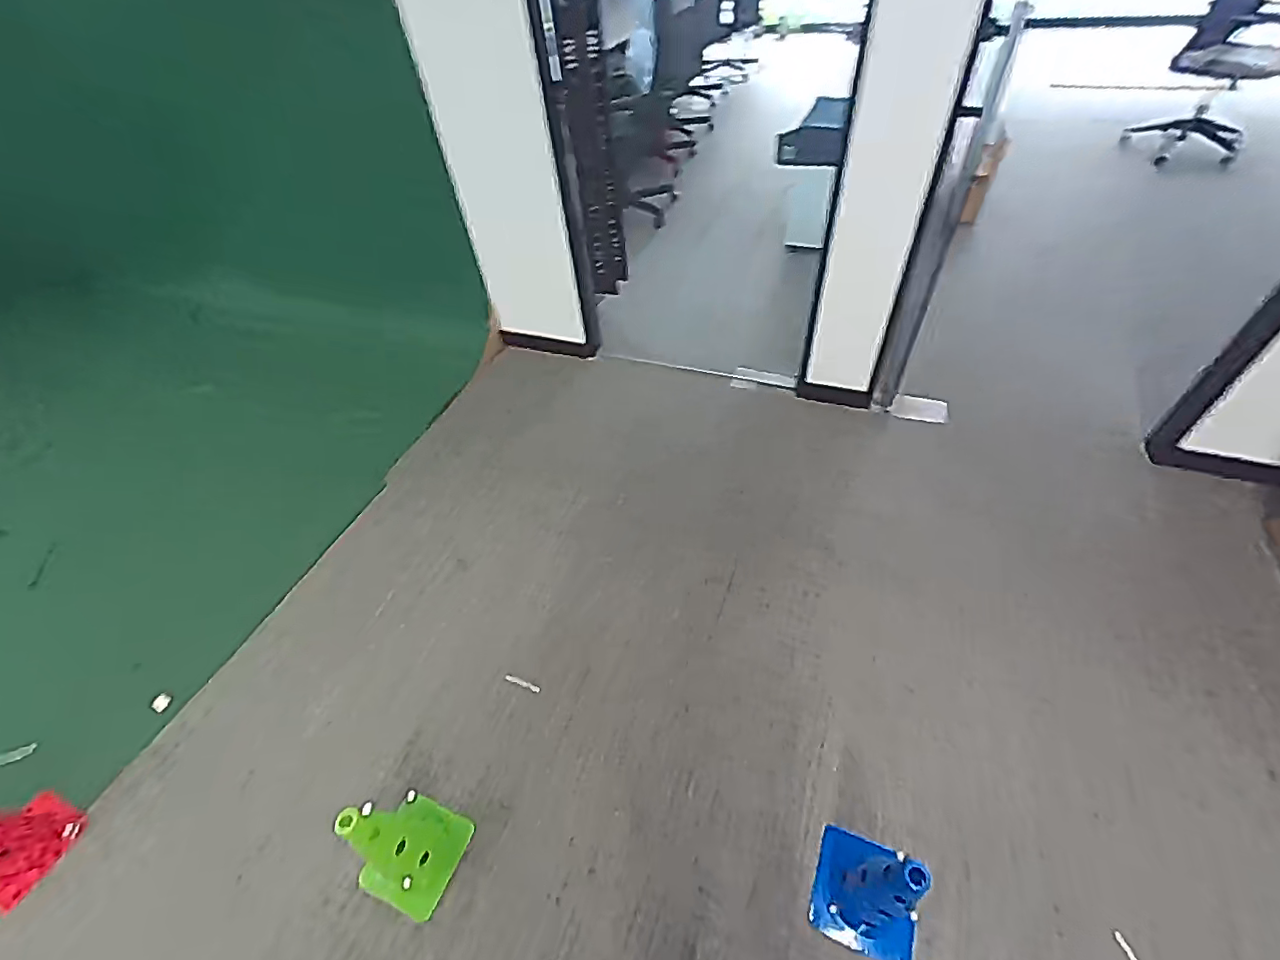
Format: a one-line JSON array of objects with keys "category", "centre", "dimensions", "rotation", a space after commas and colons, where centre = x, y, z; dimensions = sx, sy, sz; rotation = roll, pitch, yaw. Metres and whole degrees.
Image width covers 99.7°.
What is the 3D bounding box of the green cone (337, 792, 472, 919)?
[{"category": "green cone", "centre": [-0.525, 0.739, 1.111], "dimensions": [0.202, 0.368, 0.200], "rotation": [14, 51, 17]}]
